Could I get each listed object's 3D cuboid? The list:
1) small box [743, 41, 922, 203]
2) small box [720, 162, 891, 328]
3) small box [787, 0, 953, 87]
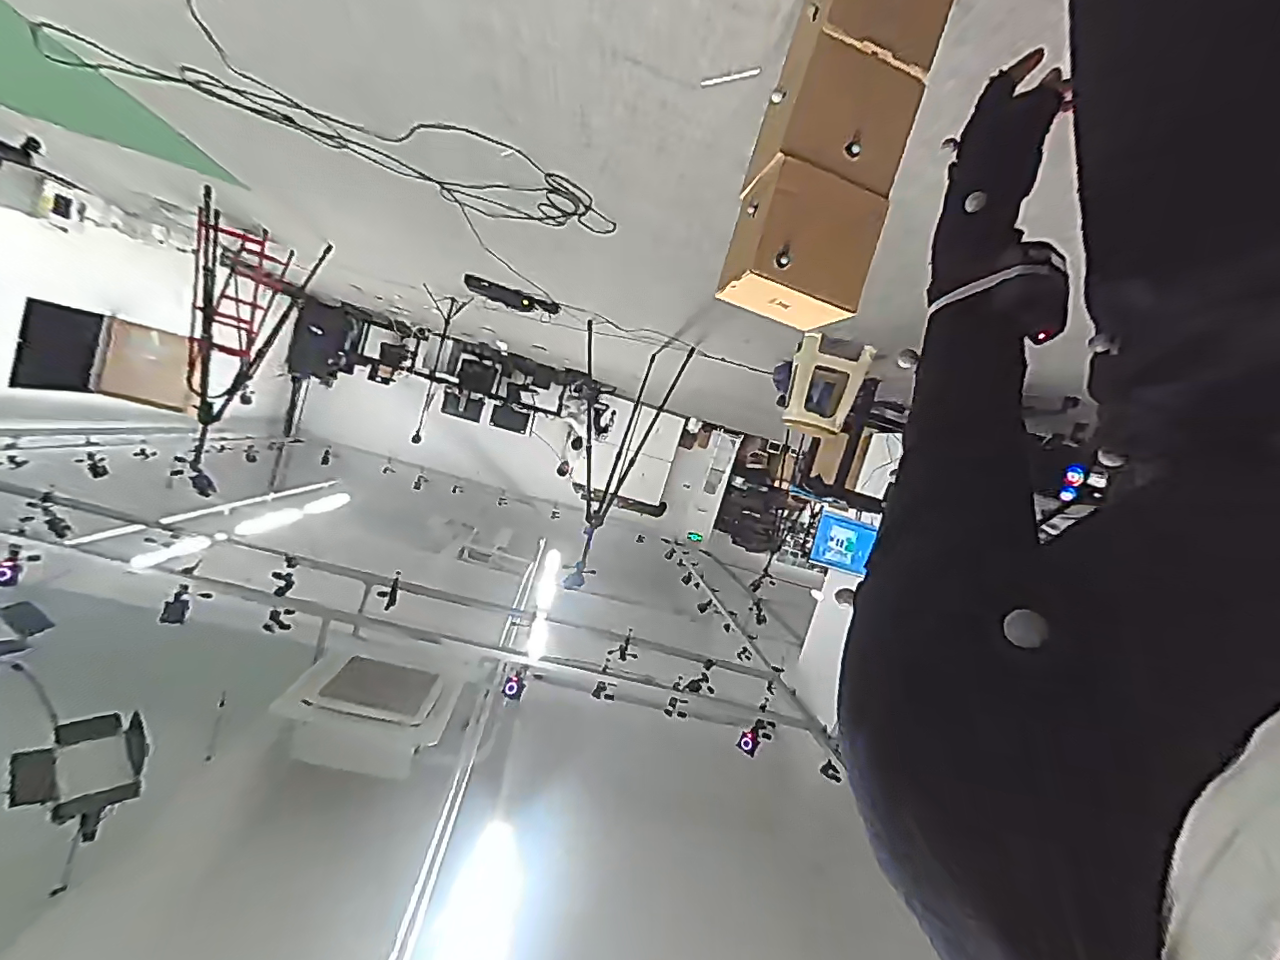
[{"bbox_3d":[0.289,-0.512,0.826,0.179,0.176,0.168,17,-176,-12],"label":"small box"},{"bbox_3d":[0.251,-0.354,0.838,0.179,0.176,0.168,17,-176,-11],"label":"small box"},{"bbox_3d":[0.338,-0.668,0.808,0.168,0.176,0.179,17,-176,-11],"label":"small box"}]
